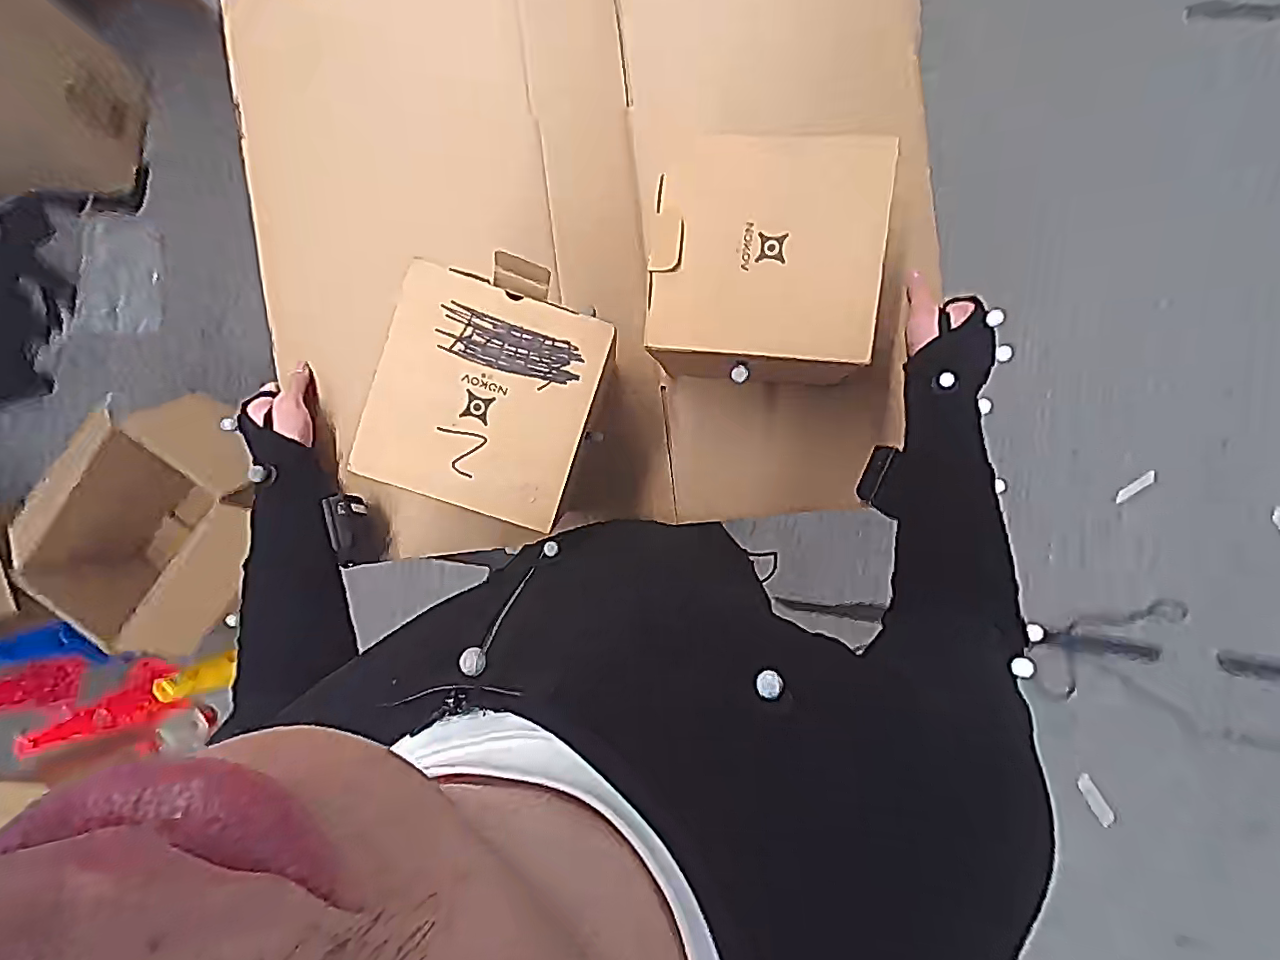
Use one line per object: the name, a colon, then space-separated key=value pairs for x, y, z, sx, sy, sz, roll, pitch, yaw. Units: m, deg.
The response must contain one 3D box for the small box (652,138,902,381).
small box: x=0.117 y=-0.187 z=0.504 sx=0.179 sy=0.176 sz=0.168 roll=7 pitch=96 yaw=10
